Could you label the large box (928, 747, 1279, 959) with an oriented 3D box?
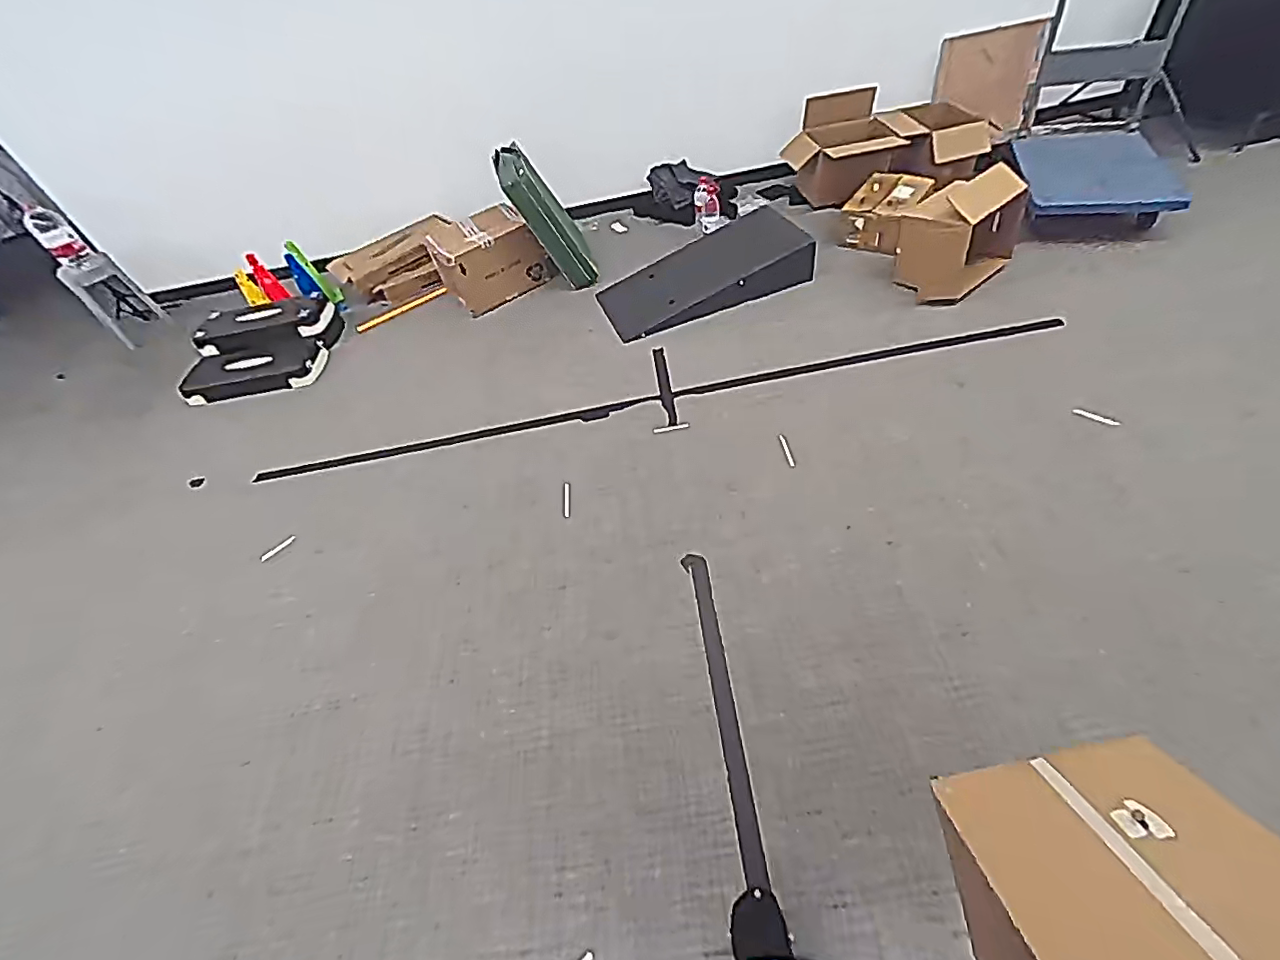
[{"bbox_3d":[0.617,0.604,0.638,0.320,0.320,0.408,-15,6,7],"label":"large box"}]
